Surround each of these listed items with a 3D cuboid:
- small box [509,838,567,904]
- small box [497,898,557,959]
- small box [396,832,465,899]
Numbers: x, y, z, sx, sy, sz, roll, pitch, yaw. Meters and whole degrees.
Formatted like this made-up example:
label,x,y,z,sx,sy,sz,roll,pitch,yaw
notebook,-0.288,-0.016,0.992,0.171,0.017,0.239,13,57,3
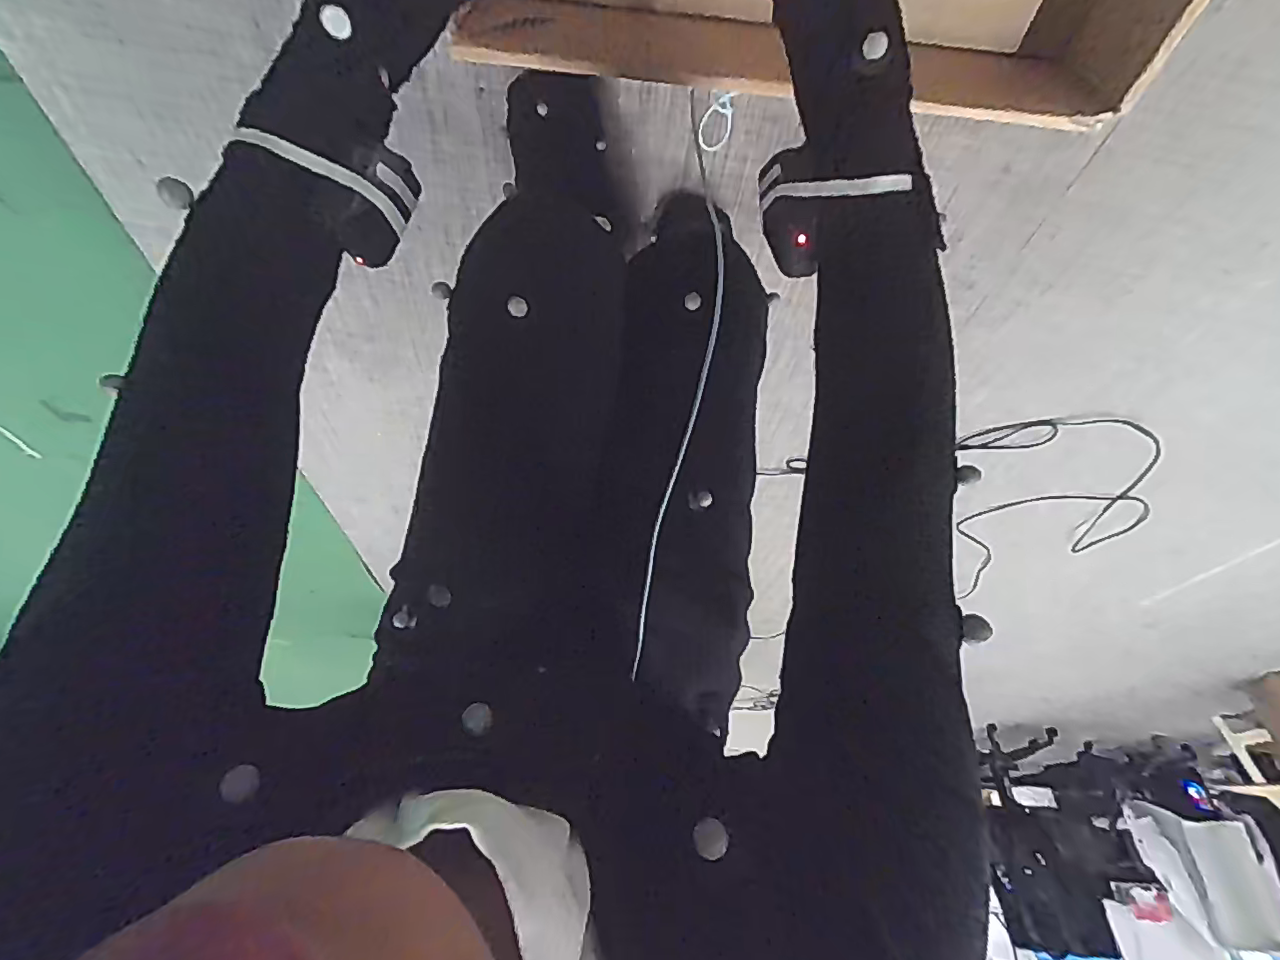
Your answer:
label,x,y,z,sx,sy,sz,roll,pitch,yaw
small box,-0.340,1.295,1.795,0.168,0.176,0.179,9,145,-7
small box,-0.355,1.429,1.703,0.168,0.176,0.179,9,145,-7
small box,-0.679,1.259,1.771,0.168,0.176,0.179,11,145,-7
